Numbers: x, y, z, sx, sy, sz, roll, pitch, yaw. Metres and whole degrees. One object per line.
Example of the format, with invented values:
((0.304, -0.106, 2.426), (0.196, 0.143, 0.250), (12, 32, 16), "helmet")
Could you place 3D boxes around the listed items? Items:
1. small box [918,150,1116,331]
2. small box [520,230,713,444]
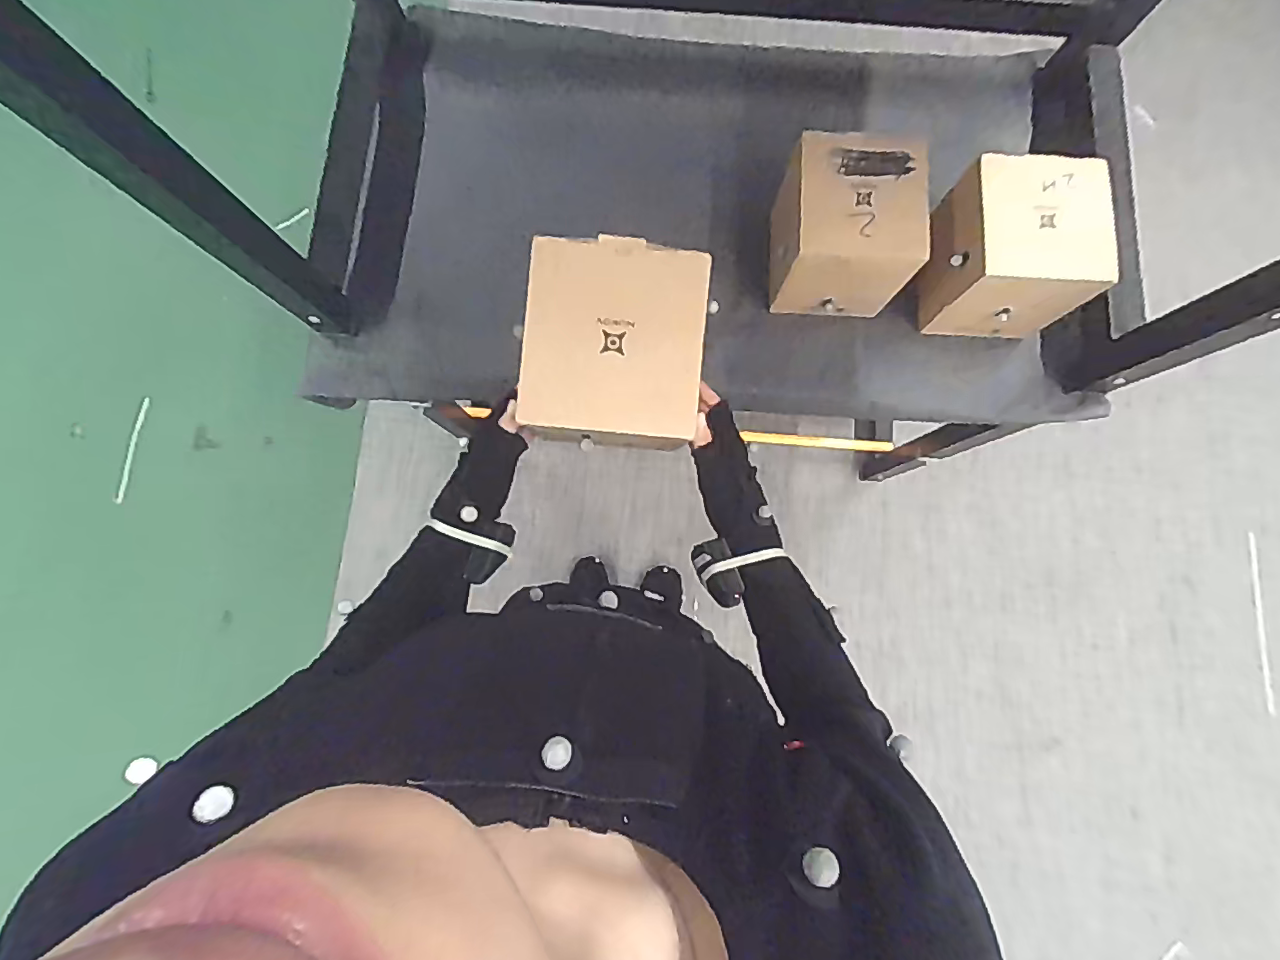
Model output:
((0.516, -0.327, 0.766), (0.168, 0.176, 0.179), (3, 80, 0), "small box")
((-0.022, -0.134, 0.570), (0.168, 0.176, 0.179), (4, 88, -2), "small box")
